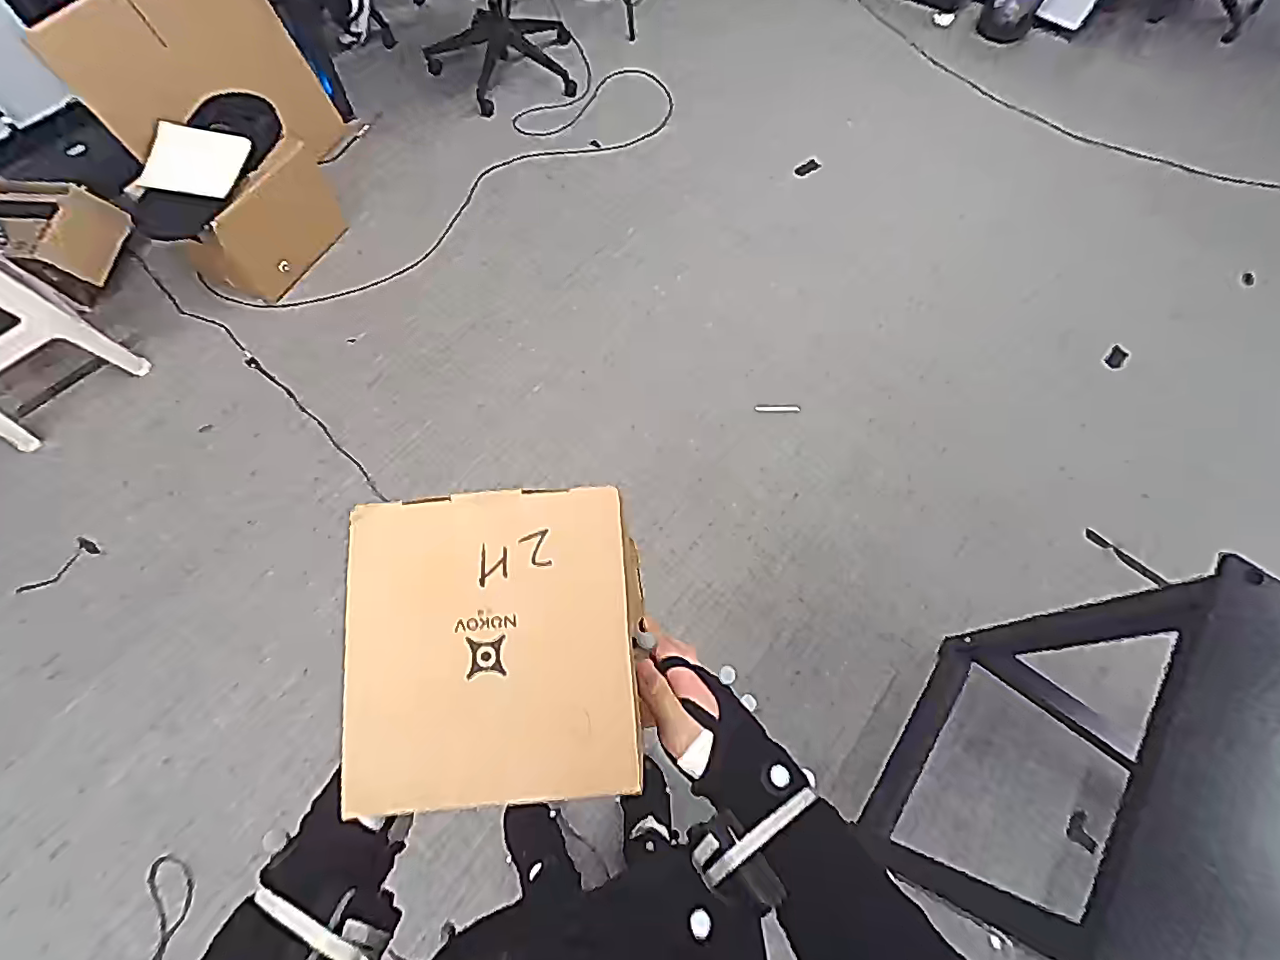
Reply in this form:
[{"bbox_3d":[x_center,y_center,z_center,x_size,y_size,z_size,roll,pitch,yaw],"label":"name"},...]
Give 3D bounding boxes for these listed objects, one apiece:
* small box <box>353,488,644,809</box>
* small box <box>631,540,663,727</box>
[{"bbox_3d":[-0.085,0.113,0.399,0.168,0.176,0.179,-5,76,-1],"label":"small box"},{"bbox_3d":[-0.077,0.161,0.556,0.179,0.176,0.168,-9,76,-1],"label":"small box"}]
